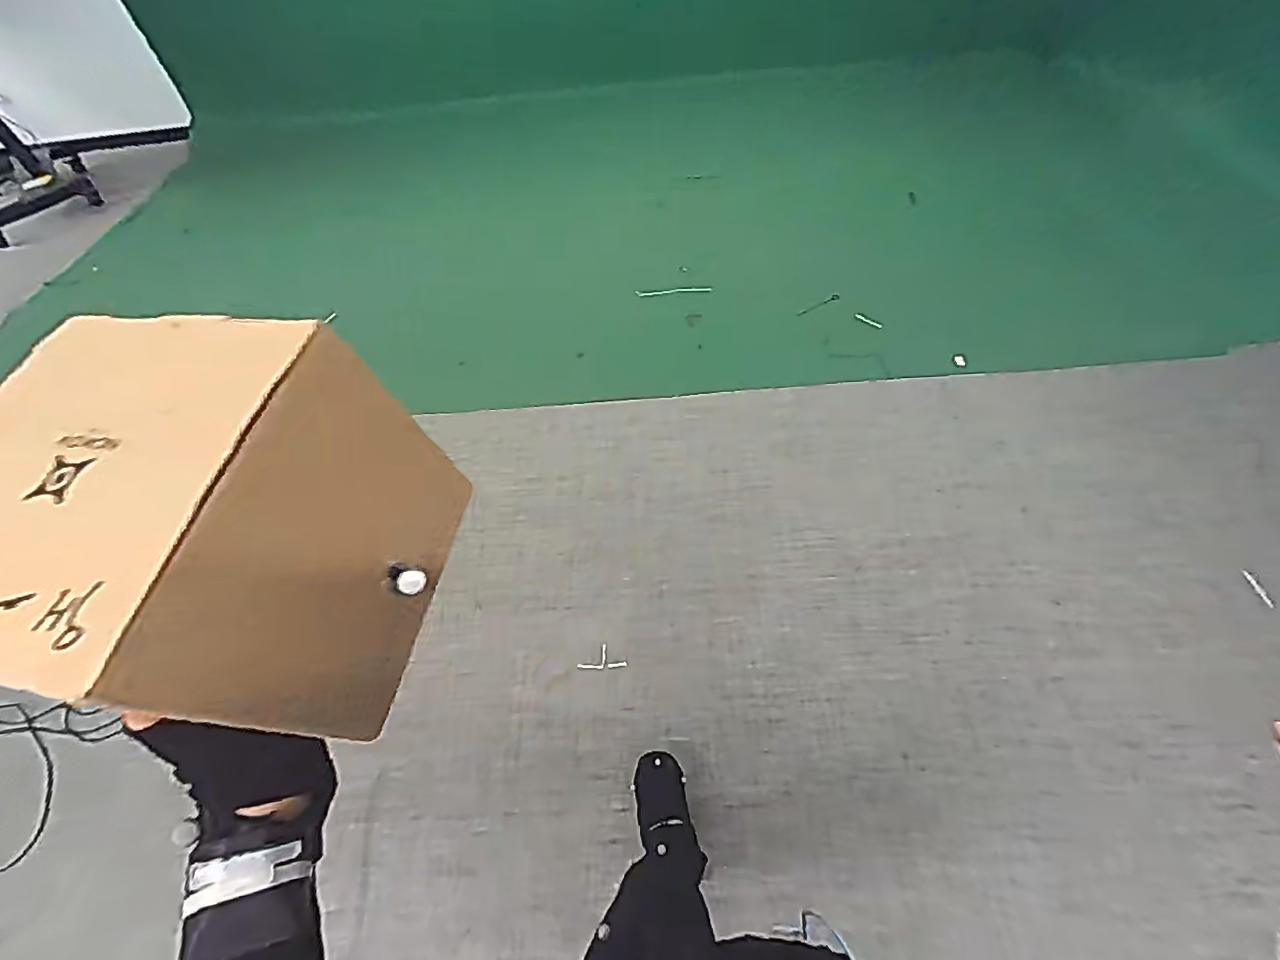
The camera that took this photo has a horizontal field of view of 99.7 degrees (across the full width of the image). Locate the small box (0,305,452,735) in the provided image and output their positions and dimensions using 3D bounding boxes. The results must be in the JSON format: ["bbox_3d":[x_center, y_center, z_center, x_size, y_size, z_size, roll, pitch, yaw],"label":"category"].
[{"bbox_3d":[-0.232,0.027,0.300,0.168,0.176,0.179,4,62,14],"label":"small box"}]
